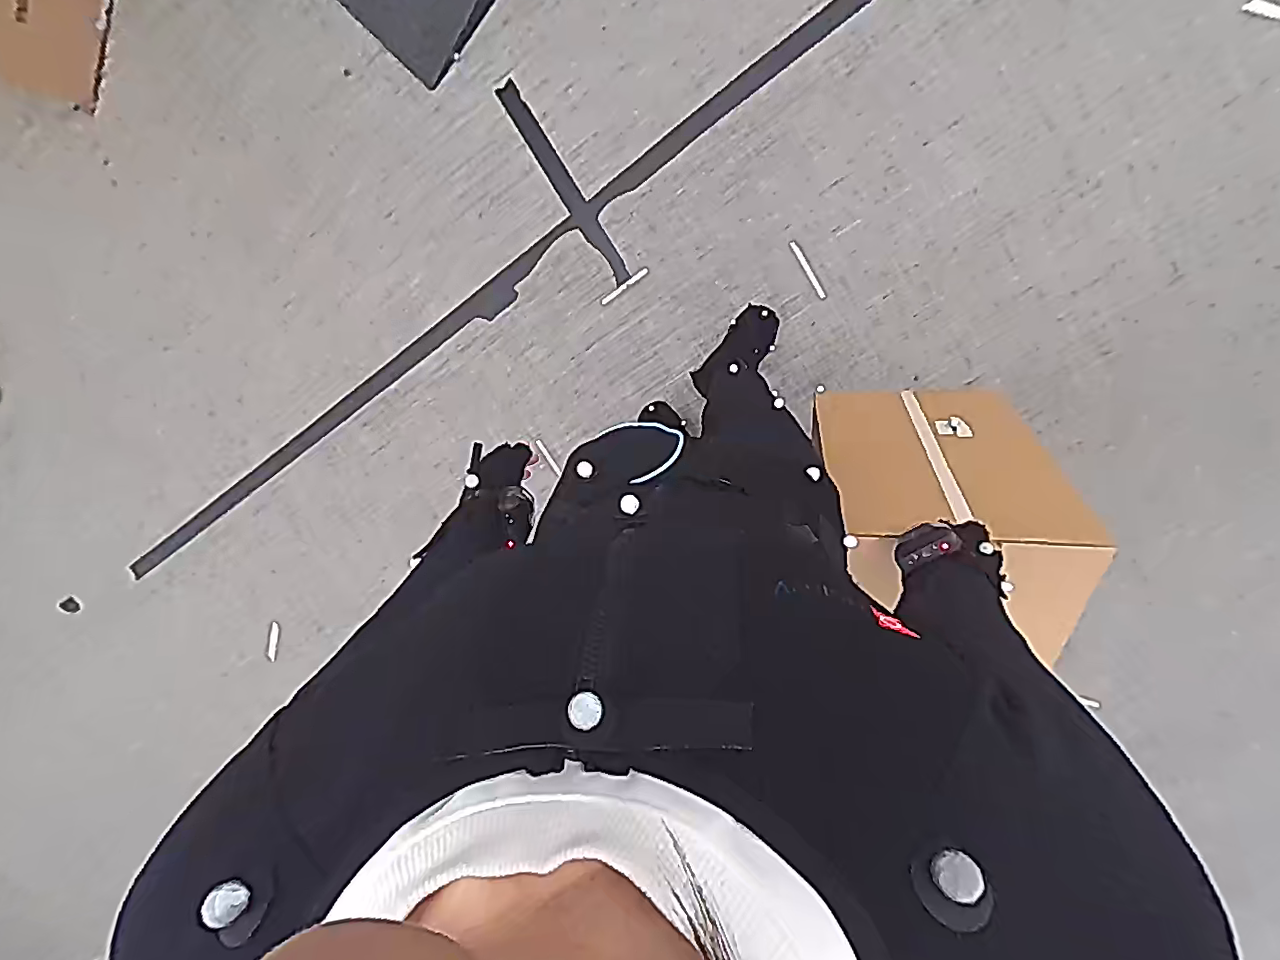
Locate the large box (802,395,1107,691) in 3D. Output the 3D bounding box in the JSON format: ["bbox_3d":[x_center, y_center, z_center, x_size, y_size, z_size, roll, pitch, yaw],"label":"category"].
[{"bbox_3d":[0.455,0.085,0.911,0.320,0.408,0.320,3,124,11],"label":"large box"}]
